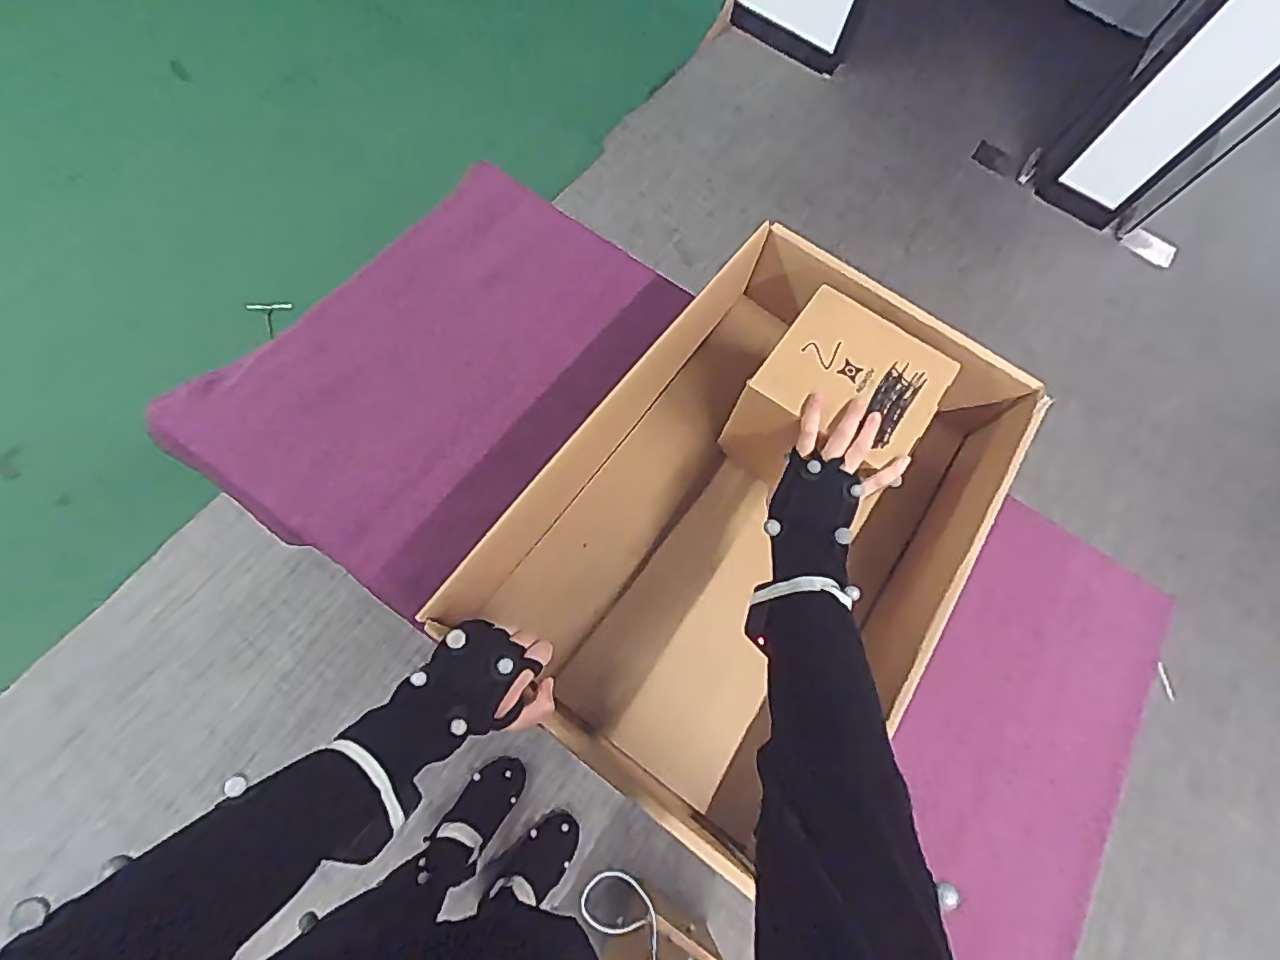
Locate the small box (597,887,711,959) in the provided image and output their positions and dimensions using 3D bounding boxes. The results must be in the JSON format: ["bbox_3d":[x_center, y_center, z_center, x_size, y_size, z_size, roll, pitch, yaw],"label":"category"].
[{"bbox_3d":[0.028,0.962,1.076,0.179,0.176,0.168,34,70,7],"label":"small box"}]
